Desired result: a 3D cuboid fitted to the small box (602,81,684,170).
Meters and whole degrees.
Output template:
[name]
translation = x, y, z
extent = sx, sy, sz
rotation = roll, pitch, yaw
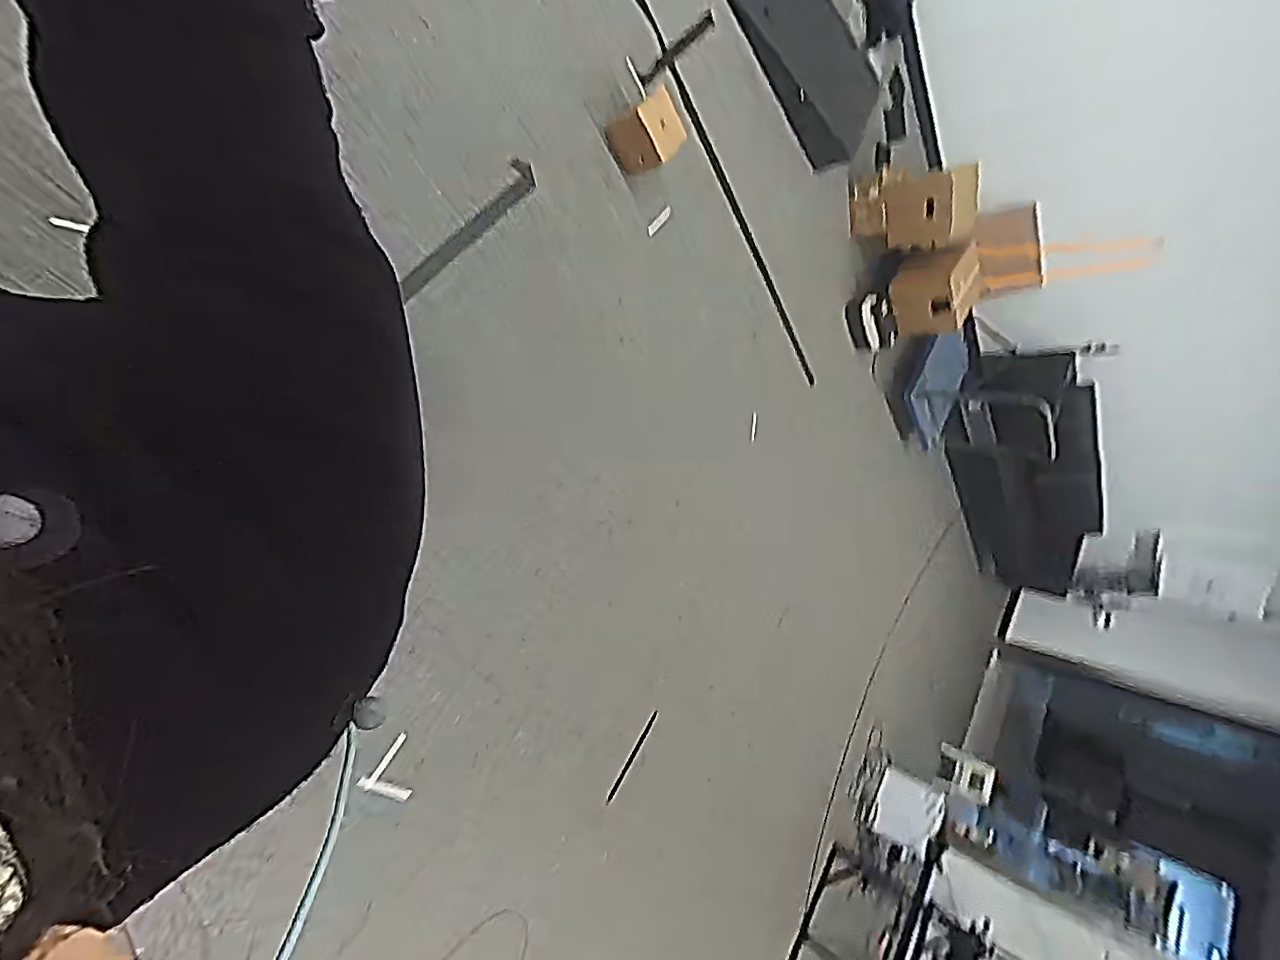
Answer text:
[small box]
translation = 0.009, -1.167, 1.799
extent = 0.179, 0.176, 0.168
rotation = 50, 63, -36
